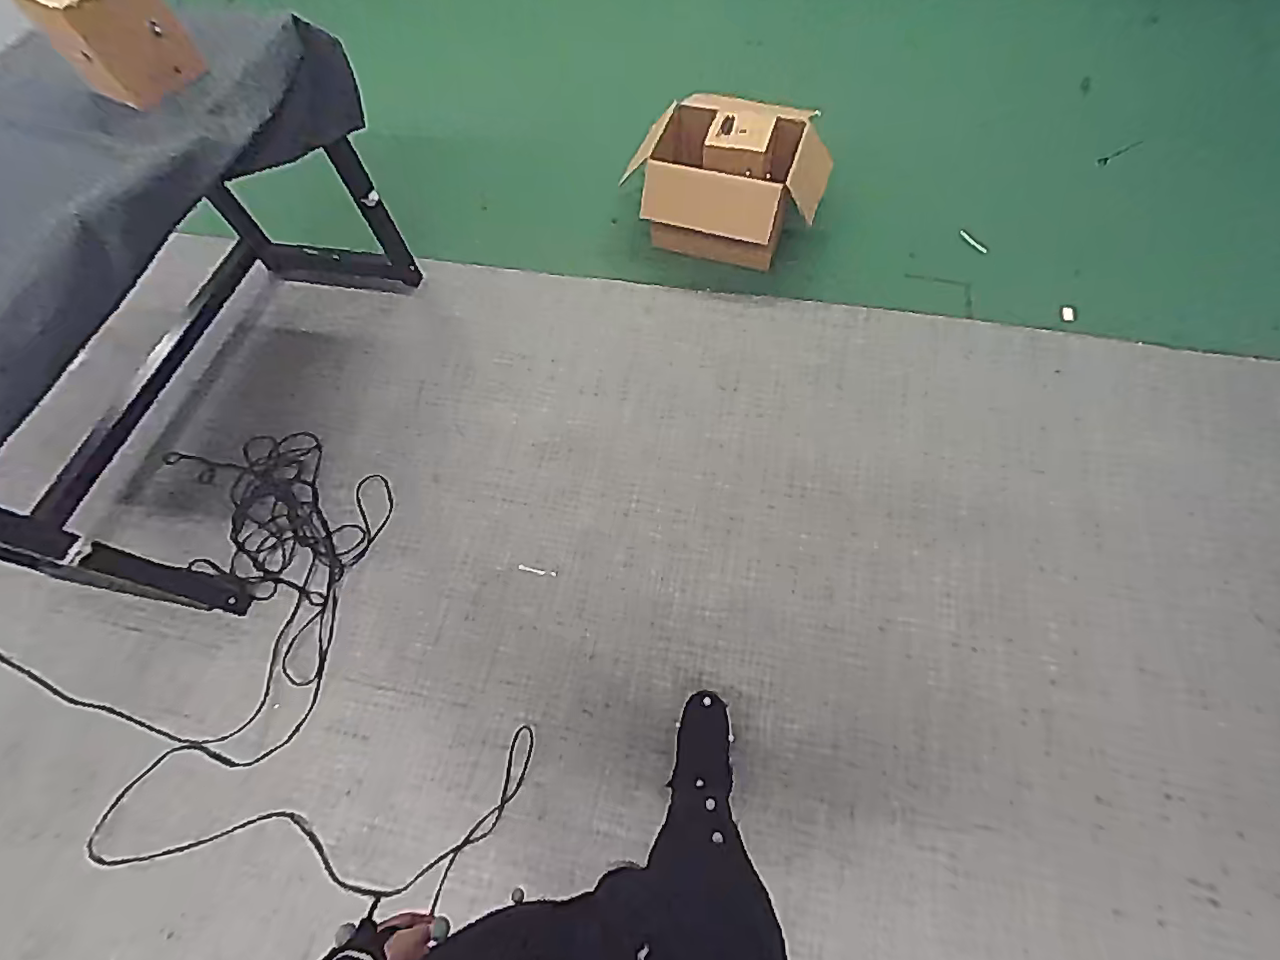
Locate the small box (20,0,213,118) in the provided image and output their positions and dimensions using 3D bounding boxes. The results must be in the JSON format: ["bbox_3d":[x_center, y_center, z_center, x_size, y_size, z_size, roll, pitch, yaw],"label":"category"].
[{"bbox_3d":[-0.993,-0.837,1.044,0.179,0.176,0.168,26,66,17],"label":"small box"}]
